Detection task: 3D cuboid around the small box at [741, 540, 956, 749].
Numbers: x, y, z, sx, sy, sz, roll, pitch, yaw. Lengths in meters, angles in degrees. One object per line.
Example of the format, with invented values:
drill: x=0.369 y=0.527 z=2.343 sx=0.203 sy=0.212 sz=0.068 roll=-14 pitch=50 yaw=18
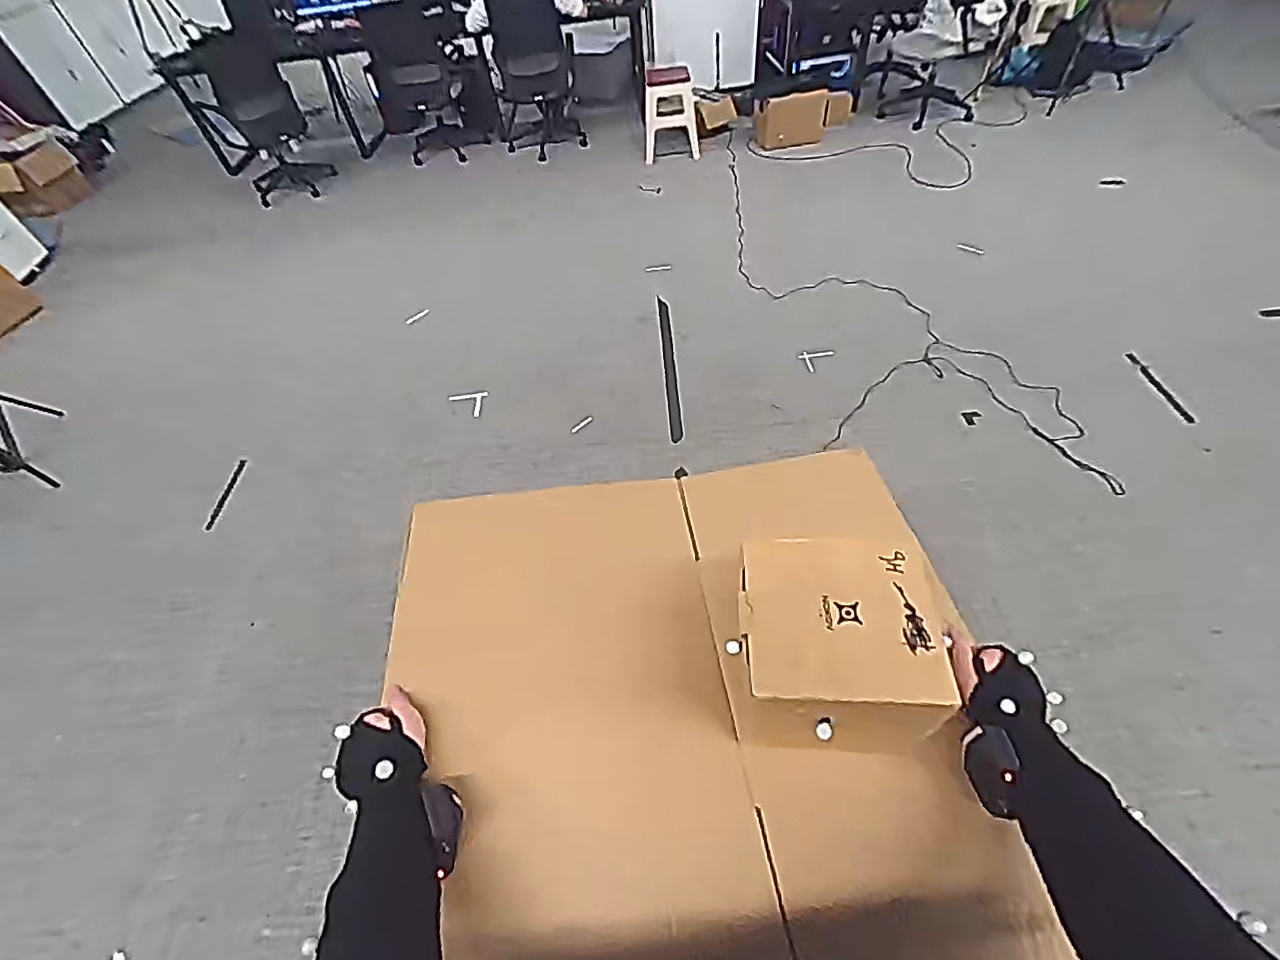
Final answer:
small box: x=0.202 y=0.179 z=0.582 sx=0.179 sy=0.176 sz=0.168 roll=-2 pitch=50 yaw=9
